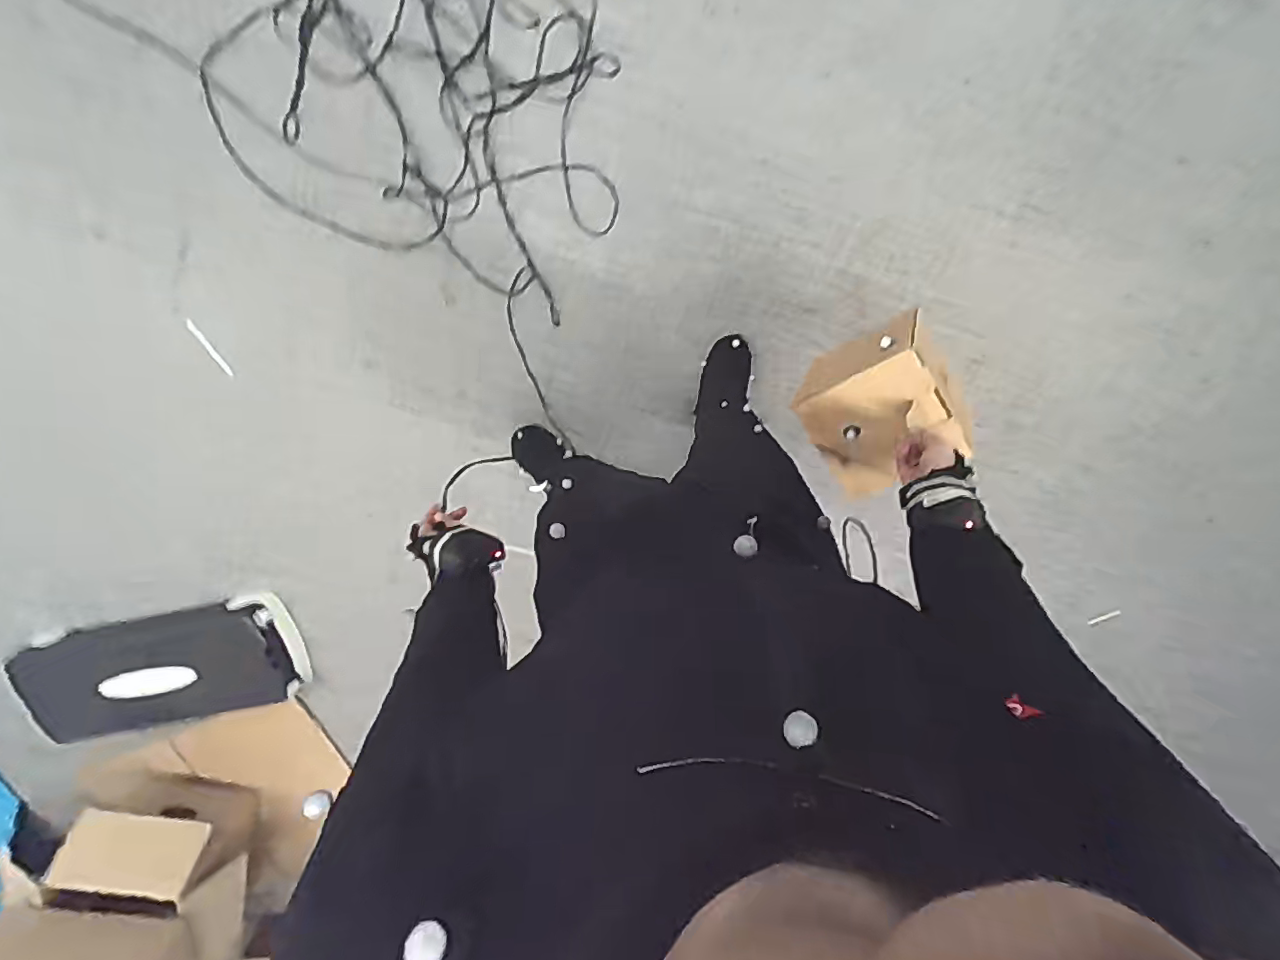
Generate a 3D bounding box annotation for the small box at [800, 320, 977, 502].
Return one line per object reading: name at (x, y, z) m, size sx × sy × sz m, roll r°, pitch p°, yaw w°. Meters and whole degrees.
small box at (0.349, -0.096, 0.770) m, size 0.176 × 0.179 × 0.168 m, roll -26°, pitch 105°, yaw 37°
